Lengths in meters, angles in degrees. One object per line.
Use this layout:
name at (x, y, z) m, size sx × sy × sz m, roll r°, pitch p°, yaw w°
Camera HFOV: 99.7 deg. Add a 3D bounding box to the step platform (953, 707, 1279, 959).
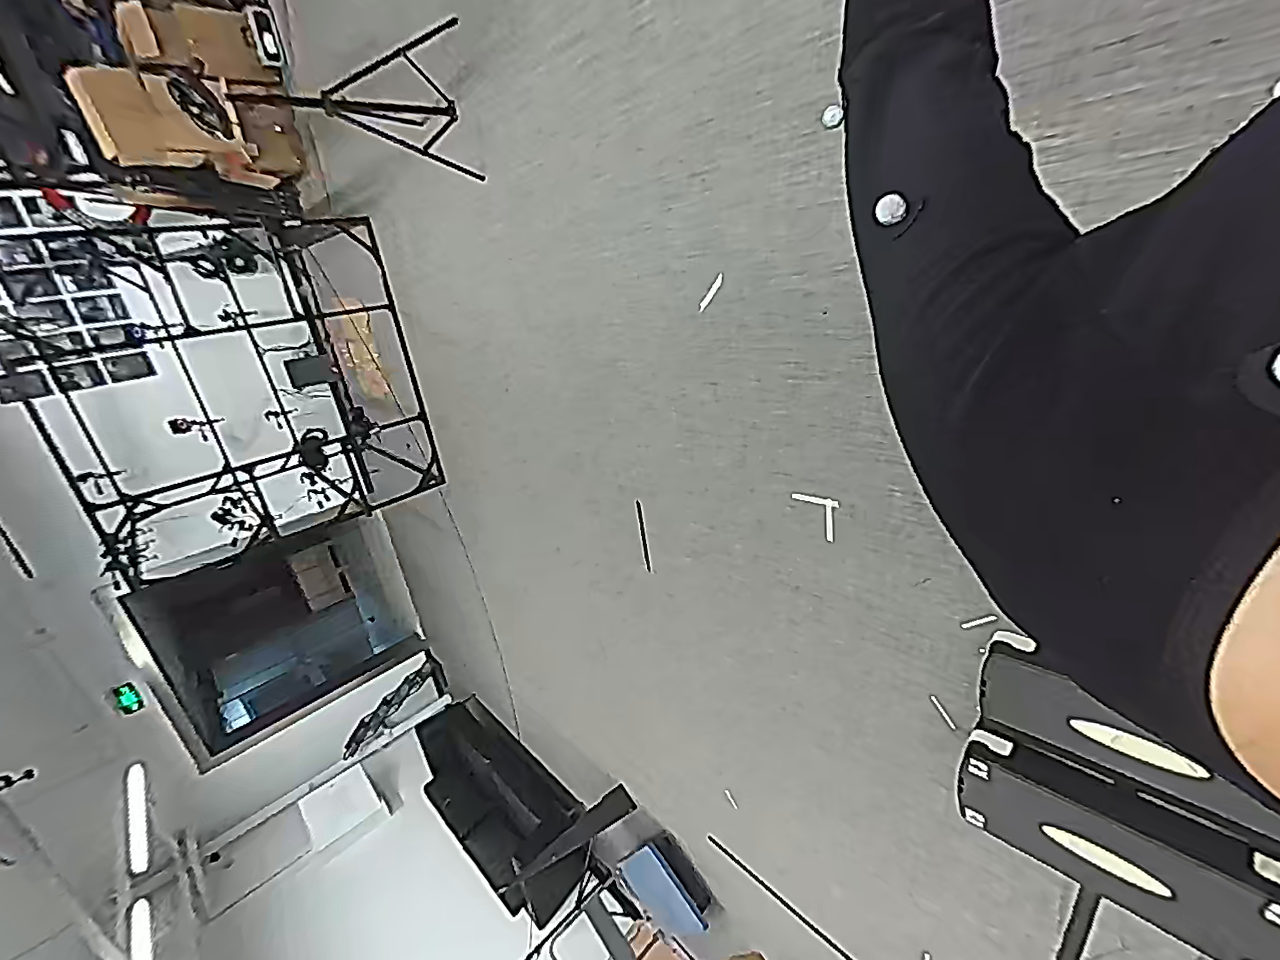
step platform at (1.212, 0.895, 1.415) m, size 0.684 × 0.204 × 0.286 m, roll 14°, pitch 121°, yaw 48°
